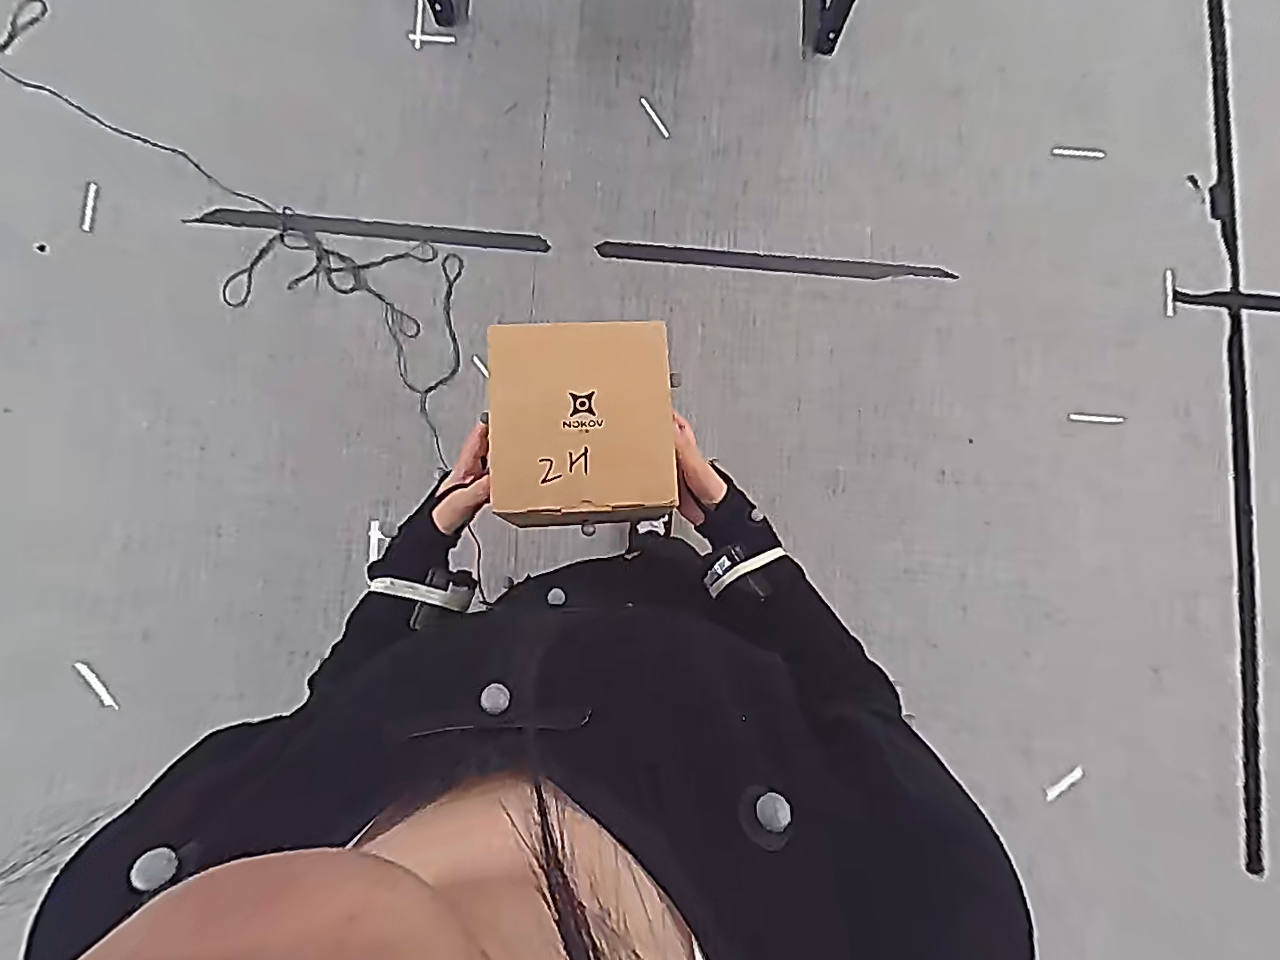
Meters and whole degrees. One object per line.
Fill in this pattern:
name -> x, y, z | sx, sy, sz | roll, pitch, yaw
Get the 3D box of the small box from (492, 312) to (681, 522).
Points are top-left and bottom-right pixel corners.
small box -> -0.055, -0.054, 0.559 | 0.168, 0.176, 0.179 | -3, 81, -4
